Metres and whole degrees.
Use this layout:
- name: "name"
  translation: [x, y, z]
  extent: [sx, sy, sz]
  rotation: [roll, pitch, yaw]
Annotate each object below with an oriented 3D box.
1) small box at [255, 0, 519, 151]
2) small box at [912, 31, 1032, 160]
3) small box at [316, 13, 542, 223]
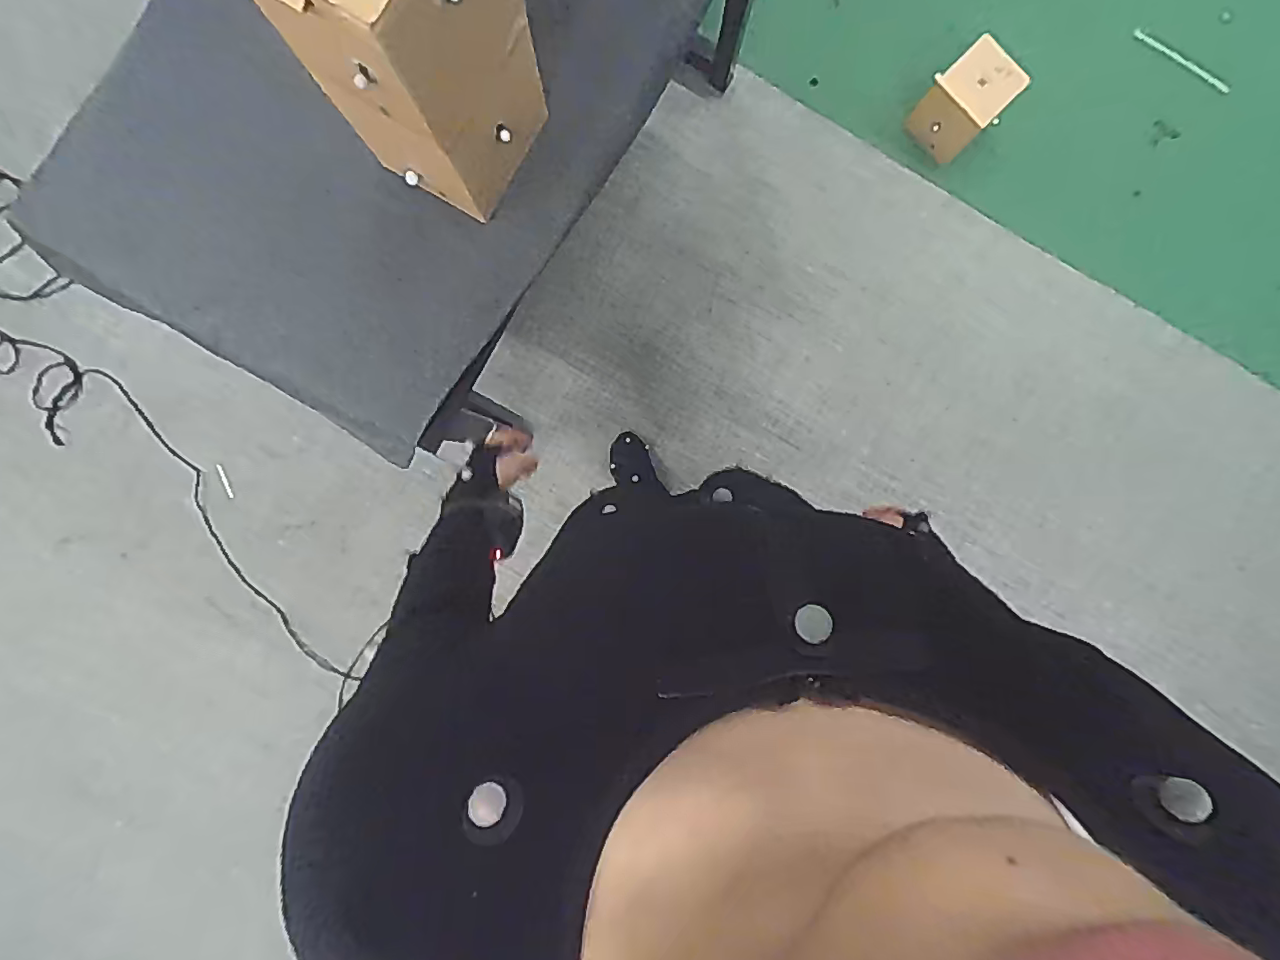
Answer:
- name: "small box"
  translation: [-0.228, -0.450, 0.488]
  extent: [0.168, 0.176, 0.179]
  rotation: [31, 89, -2]
- name: "small box"
  translation: [0.845, -0.983, 1.403]
  extent: [0.179, 0.176, 0.168]
  rotation: [-44, 93, -1]
- name: "small box"
  translation: [-0.233, -0.456, 0.650]
  extent: [0.168, 0.176, 0.179]
  rotation: [30, 91, -1]
